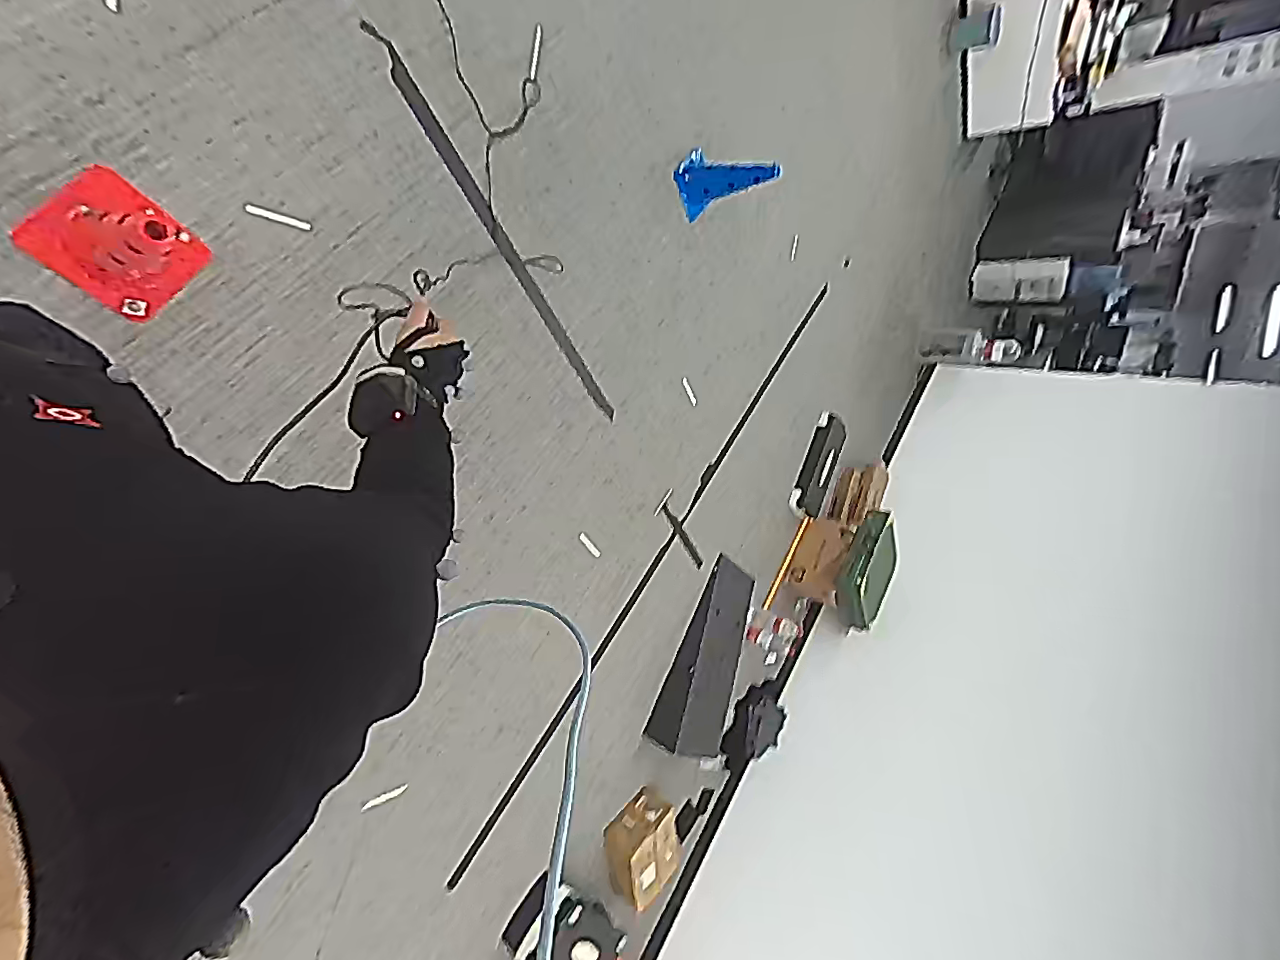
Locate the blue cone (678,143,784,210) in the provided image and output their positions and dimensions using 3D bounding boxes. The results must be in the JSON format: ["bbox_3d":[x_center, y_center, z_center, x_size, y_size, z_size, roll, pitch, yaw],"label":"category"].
[{"bbox_3d":[0.338,-1.127,1.969,0.192,0.380,0.193,-55,137,-24],"label":"blue cone"}]

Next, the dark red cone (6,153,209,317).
[{"bbox_3d":[-0.782,-0.386,0.832,0.202,0.394,0.201,48,64,-46],"label":"dark red cone"}]
